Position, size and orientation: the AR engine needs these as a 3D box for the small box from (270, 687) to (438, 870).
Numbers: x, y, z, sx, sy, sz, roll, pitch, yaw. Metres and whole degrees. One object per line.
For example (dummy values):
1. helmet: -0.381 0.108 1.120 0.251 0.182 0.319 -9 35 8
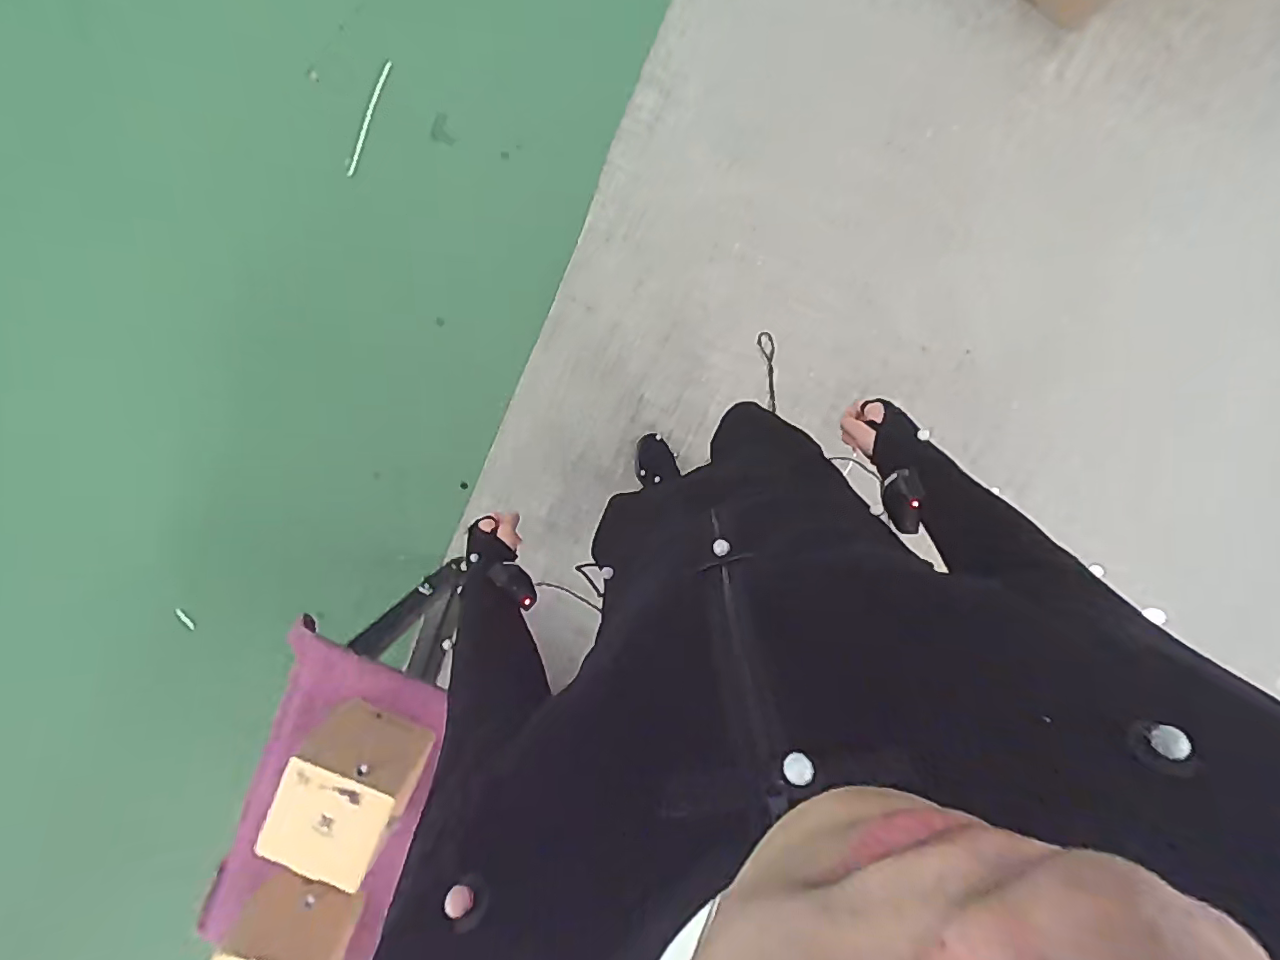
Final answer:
1. small box: -0.467 0.489 0.910 0.168 0.176 0.179 24 99 -3

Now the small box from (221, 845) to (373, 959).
1. small box: -0.610 0.810 0.964 0.168 0.176 0.179 22 98 -4
